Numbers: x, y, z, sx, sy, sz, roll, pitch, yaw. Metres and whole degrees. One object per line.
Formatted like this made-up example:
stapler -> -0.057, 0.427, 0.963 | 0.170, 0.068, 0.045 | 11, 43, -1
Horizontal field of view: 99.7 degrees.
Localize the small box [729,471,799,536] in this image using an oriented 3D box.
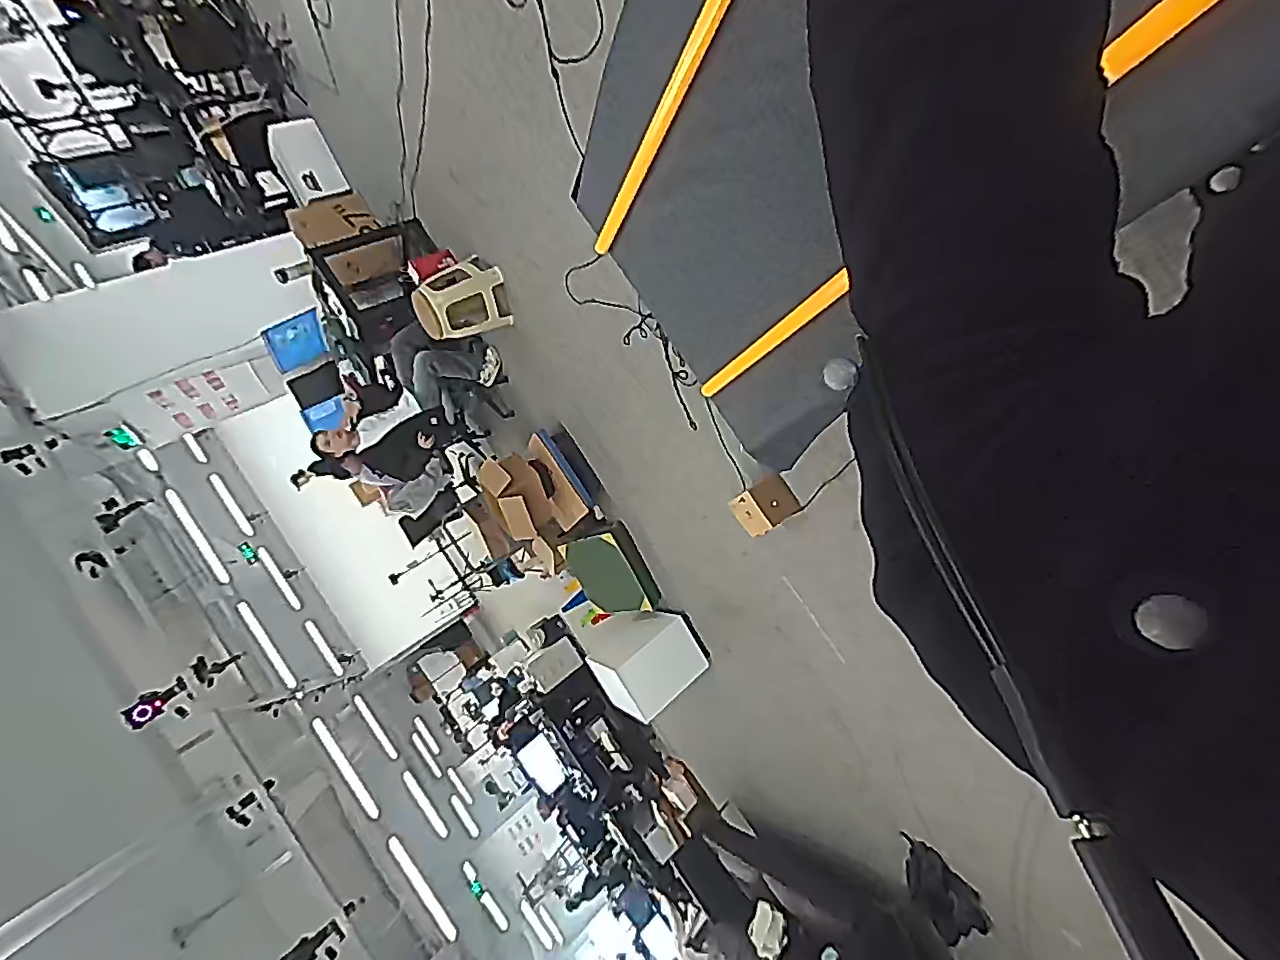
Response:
small box -> 0.496, 0.093, 2.149 | 0.179, 0.176, 0.168 | 55, 153, 5
